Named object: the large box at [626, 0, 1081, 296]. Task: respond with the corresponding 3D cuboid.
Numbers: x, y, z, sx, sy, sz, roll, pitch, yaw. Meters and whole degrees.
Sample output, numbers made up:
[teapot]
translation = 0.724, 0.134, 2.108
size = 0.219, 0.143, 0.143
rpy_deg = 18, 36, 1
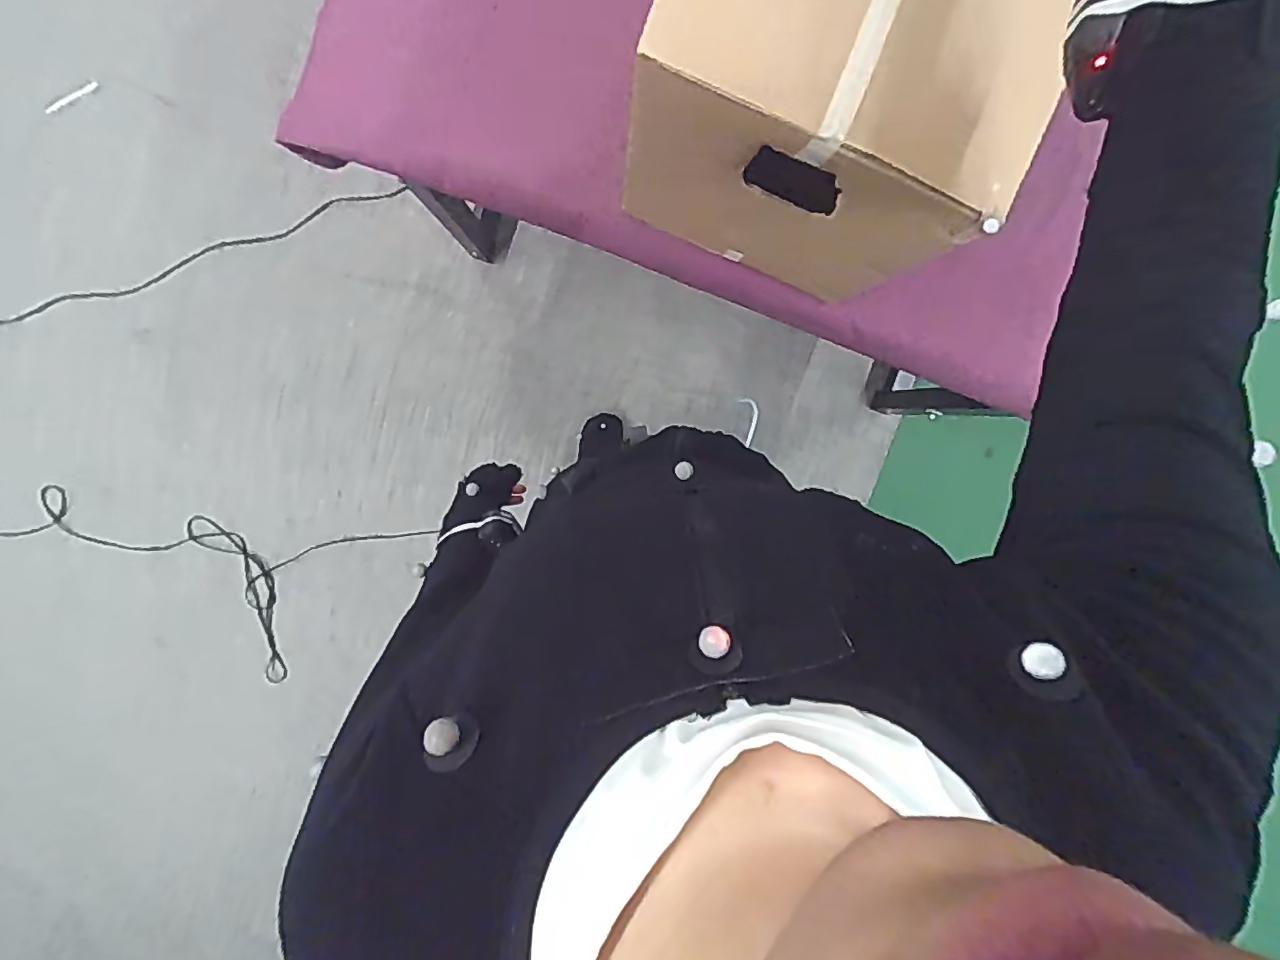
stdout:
[large box]
translation = 0.202, -0.465, 0.557
size = 0.320, 0.320, 0.408
rpy_deg = 22, 96, -6
